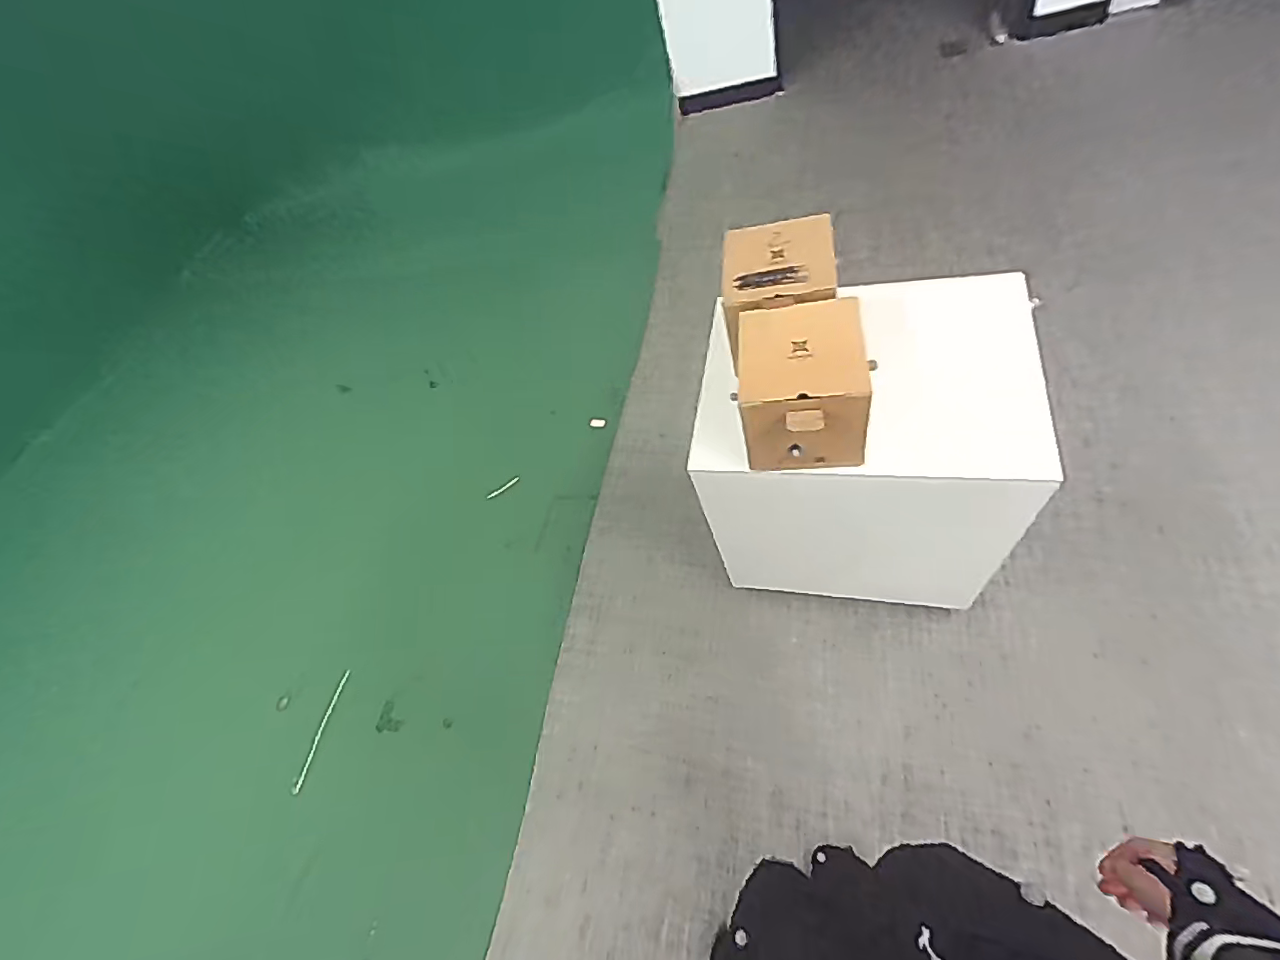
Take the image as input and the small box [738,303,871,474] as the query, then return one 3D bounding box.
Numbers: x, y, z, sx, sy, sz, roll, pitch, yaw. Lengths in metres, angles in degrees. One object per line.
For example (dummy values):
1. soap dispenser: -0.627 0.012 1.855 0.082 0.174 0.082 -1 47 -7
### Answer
1. small box: 0.235 -0.127 0.791 0.168 0.176 0.179 -3 58 16
